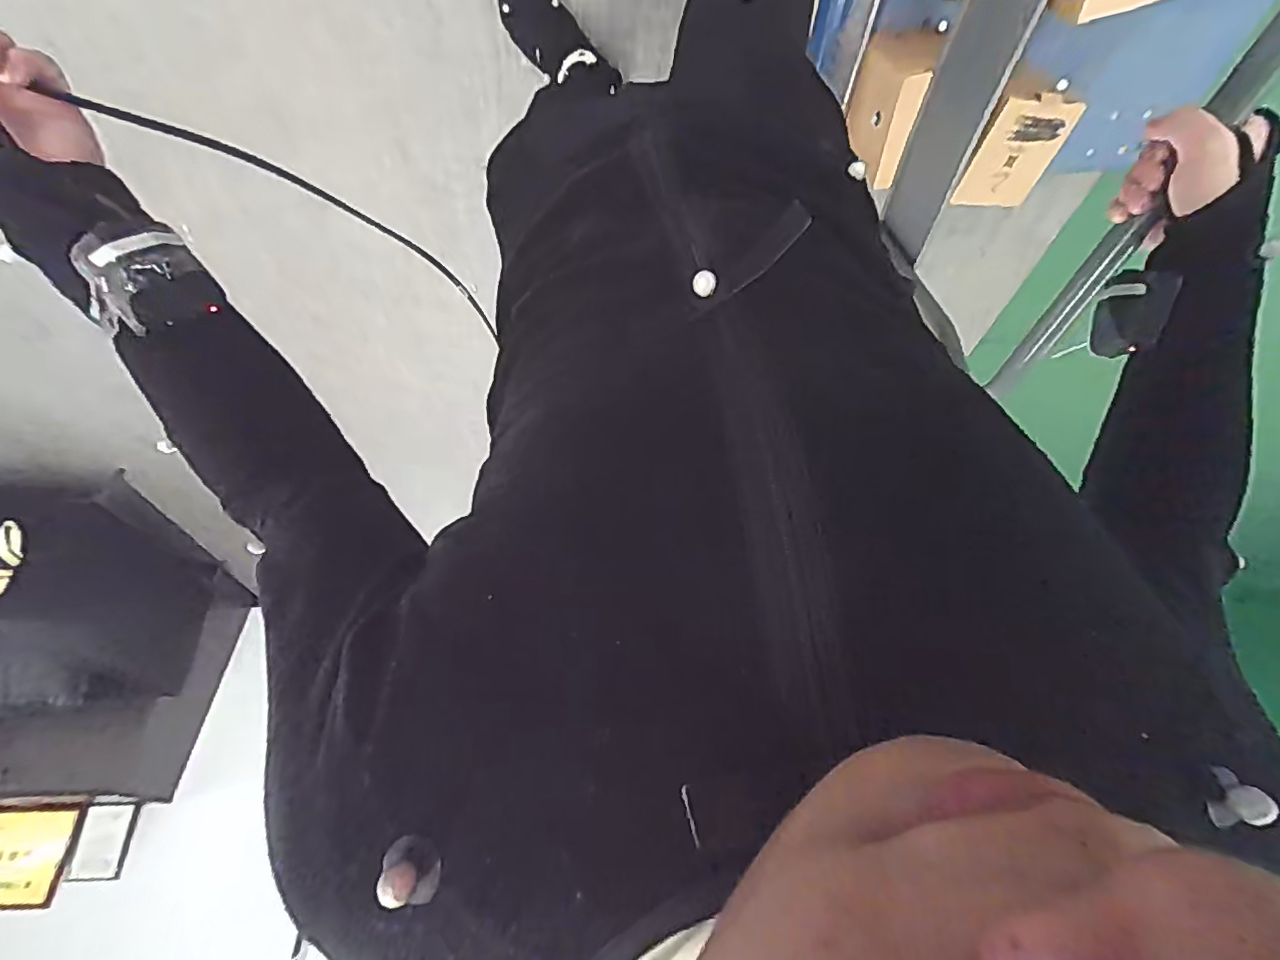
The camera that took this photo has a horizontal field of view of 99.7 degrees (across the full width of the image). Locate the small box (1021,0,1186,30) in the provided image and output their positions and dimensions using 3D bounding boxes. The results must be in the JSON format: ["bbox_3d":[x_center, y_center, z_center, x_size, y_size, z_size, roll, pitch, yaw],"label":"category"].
[{"bbox_3d":[0.700,-0.798,0.783,0.179,0.176,0.168,-15,146,2],"label":"small box"}]
